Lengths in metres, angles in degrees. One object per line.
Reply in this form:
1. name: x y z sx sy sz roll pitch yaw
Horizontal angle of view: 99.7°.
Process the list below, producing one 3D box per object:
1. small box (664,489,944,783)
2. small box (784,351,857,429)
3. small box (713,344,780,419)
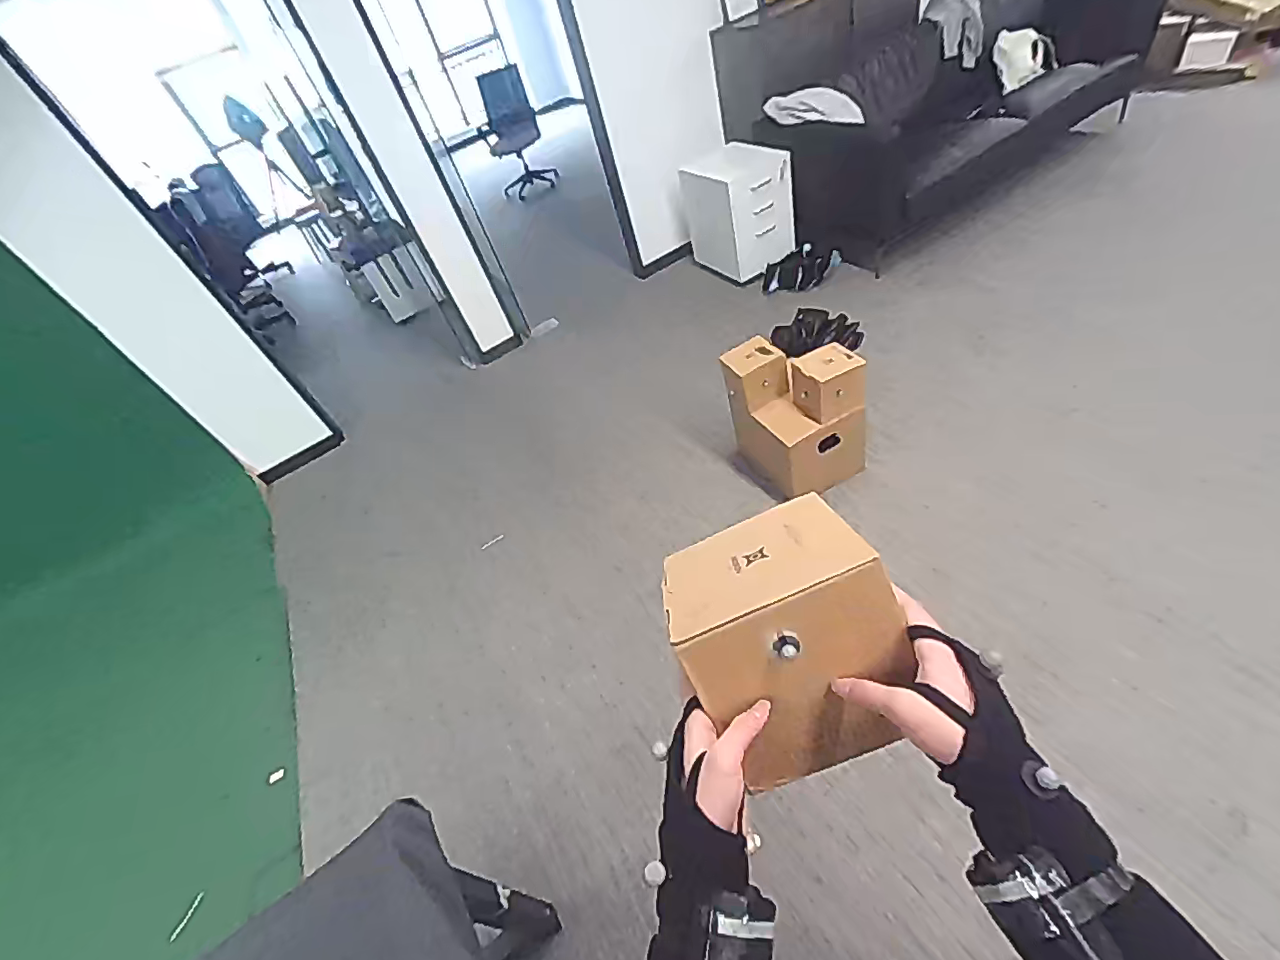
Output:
1. small box: 0.137 0.135 0.496 0.179 0.176 0.168 -24 14 5
2. small box: 0.608 -0.300 1.819 0.179 0.176 0.168 -25 42 -8
3. small box: 0.390 -0.355 1.955 0.179 0.176 0.168 -28 43 -5
